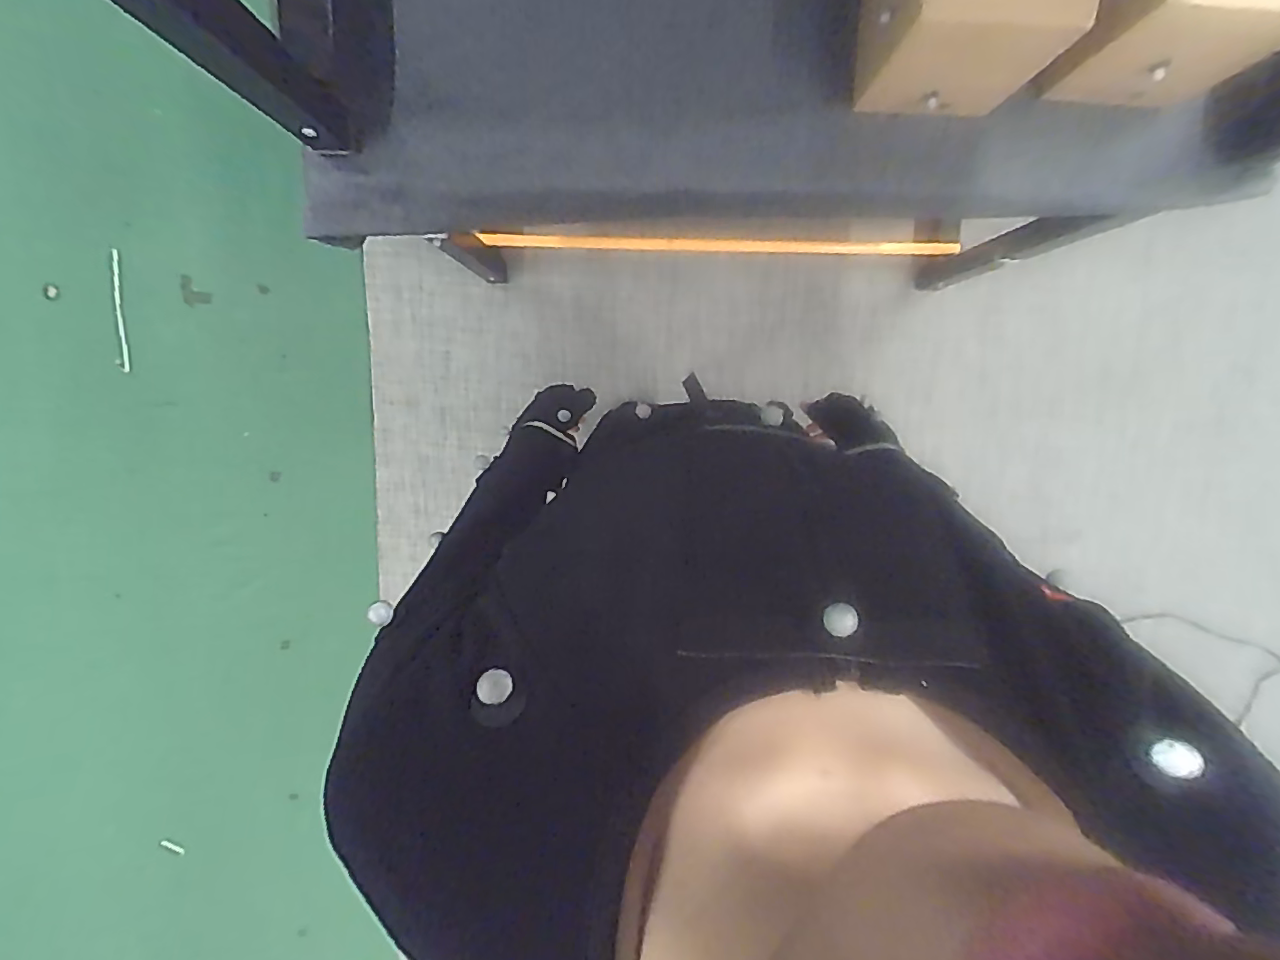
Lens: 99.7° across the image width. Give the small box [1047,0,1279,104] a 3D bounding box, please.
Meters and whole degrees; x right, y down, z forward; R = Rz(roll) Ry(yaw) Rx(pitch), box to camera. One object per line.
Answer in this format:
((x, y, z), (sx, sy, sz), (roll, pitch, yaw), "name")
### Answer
((0.578, -0.535, 0.571), (0.168, 0.176, 0.179), (5, 98, 0), "small box")
